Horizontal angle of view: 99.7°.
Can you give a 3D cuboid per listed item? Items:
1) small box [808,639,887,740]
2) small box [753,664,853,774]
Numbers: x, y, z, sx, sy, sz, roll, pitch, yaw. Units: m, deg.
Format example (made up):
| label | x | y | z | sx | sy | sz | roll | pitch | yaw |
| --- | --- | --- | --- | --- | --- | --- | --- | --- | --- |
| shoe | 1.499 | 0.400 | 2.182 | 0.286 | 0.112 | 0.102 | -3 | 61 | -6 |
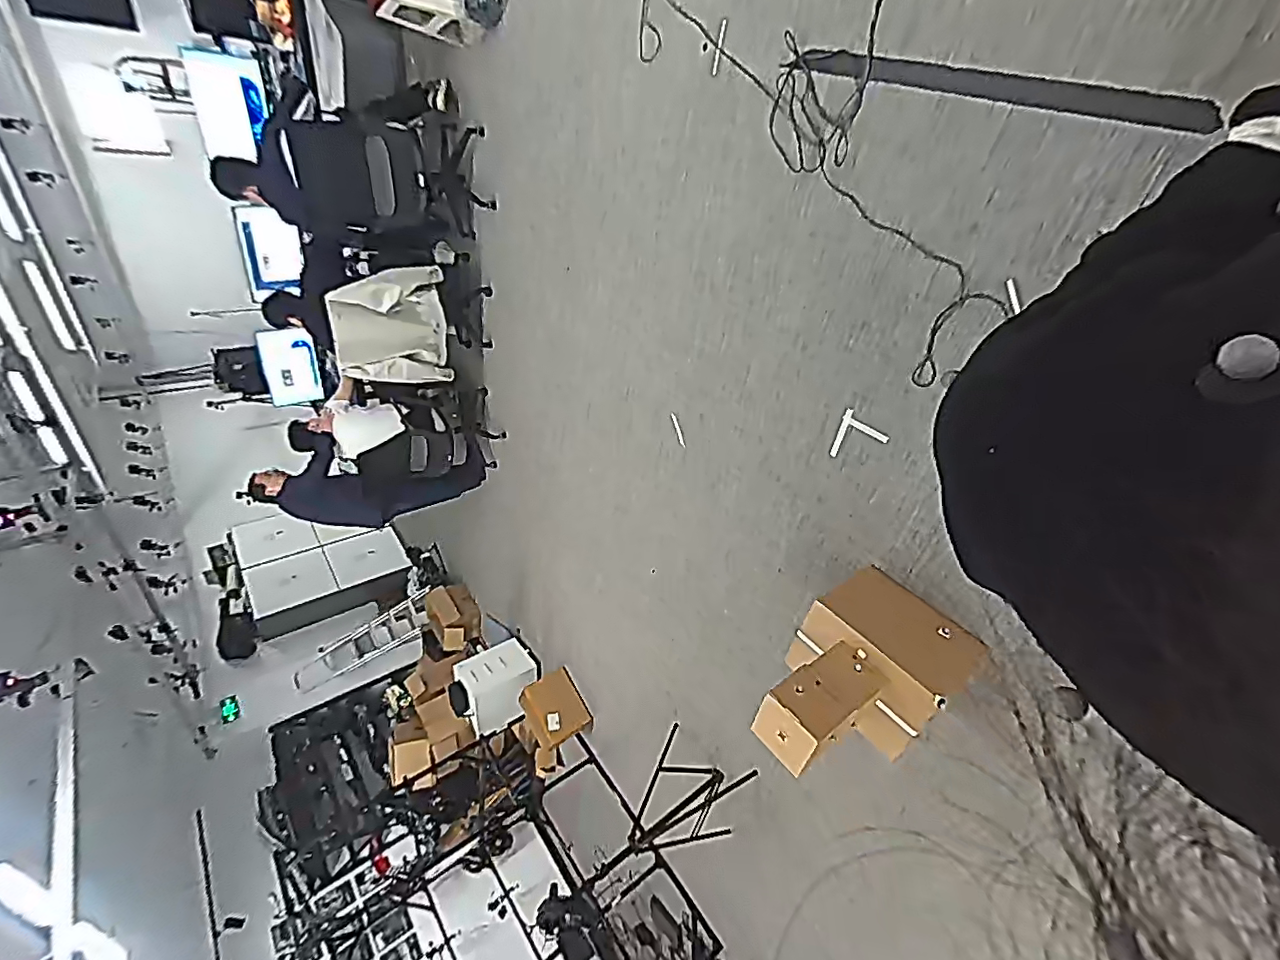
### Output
| label | x | y | z | sx | sy | sz | roll | pitch | yaw |
| --- | --- | --- | --- | --- | --- | --- | --- | --- | --- |
| small box | 0.562 | 0.588 | 1.524 | 0.168 | 0.176 | 0.179 | 41 | 134 | 36 |
| small box | 0.434 | 0.623 | 1.430 | 0.168 | 0.176 | 0.179 | 40 | 135 | 38 |
